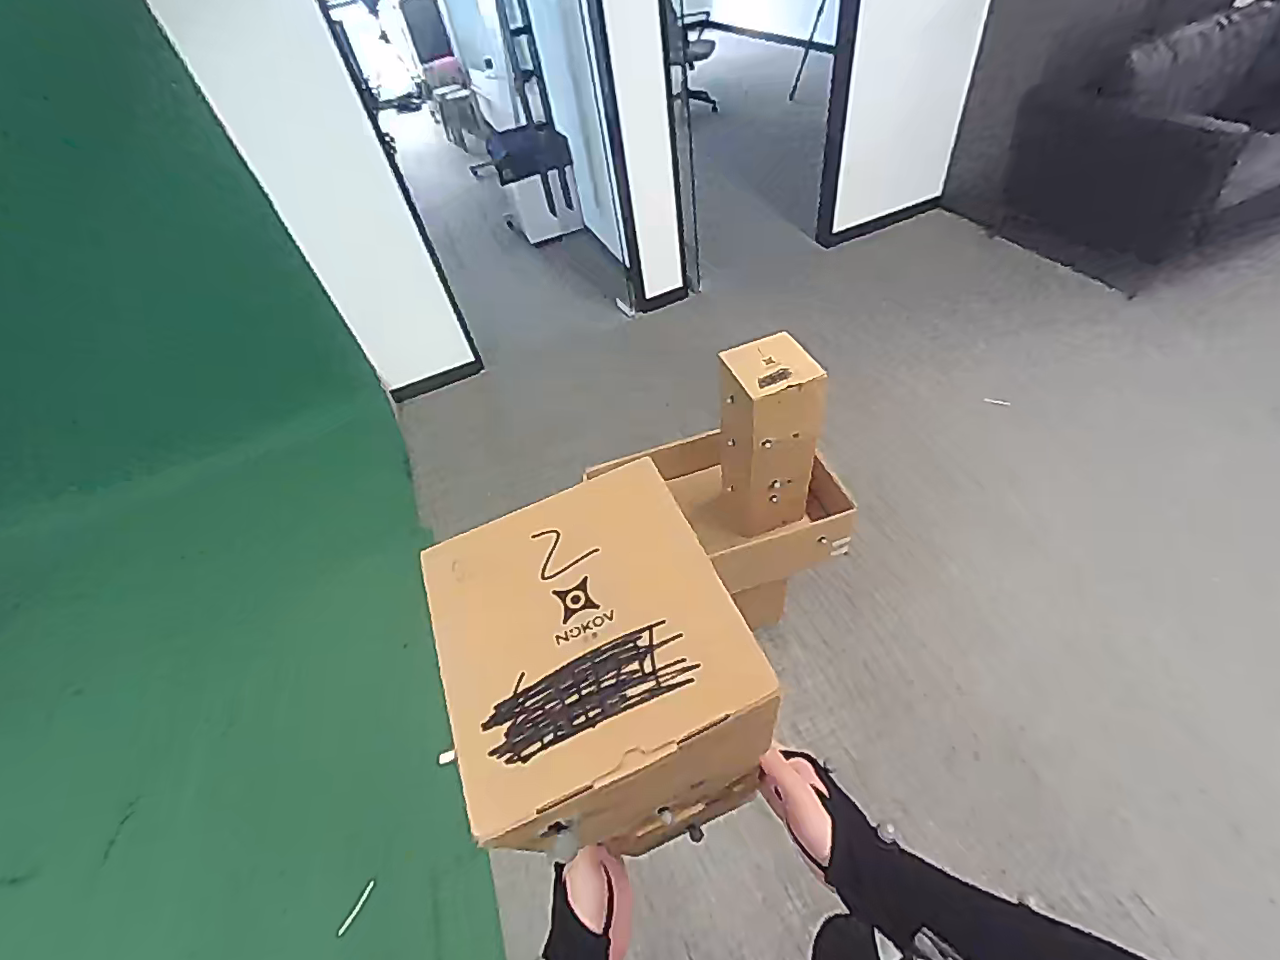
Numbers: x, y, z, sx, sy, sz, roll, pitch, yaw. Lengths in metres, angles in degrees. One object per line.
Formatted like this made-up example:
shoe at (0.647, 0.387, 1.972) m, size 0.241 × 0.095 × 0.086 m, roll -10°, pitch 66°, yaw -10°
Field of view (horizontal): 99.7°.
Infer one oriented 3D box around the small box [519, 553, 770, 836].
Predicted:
small box at (0.003, 0.204, 0.508) m, size 0.168 × 0.176 × 0.179 m, roll -21°, pitch 54°, yaw -6°

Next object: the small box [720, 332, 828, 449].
small box at (0.287, -0.187, 1.179) m, size 0.168 × 0.176 × 0.179 m, roll -19°, pitch 48°, yaw -6°

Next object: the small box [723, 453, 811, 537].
small box at (0.329, 0.020, 1.429) m, size 0.168 × 0.176 × 0.179 m, roll -19°, pitch 48°, yaw -6°

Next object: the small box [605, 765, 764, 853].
small box at (0.028, 0.304, 0.632) m, size 0.168 × 0.176 × 0.179 m, roll -22°, pitch 53°, yaw -6°

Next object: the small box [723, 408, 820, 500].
small box at (0.308, -0.083, 1.304) m, size 0.168 × 0.176 × 0.179 m, roll -18°, pitch 49°, yaw -6°
